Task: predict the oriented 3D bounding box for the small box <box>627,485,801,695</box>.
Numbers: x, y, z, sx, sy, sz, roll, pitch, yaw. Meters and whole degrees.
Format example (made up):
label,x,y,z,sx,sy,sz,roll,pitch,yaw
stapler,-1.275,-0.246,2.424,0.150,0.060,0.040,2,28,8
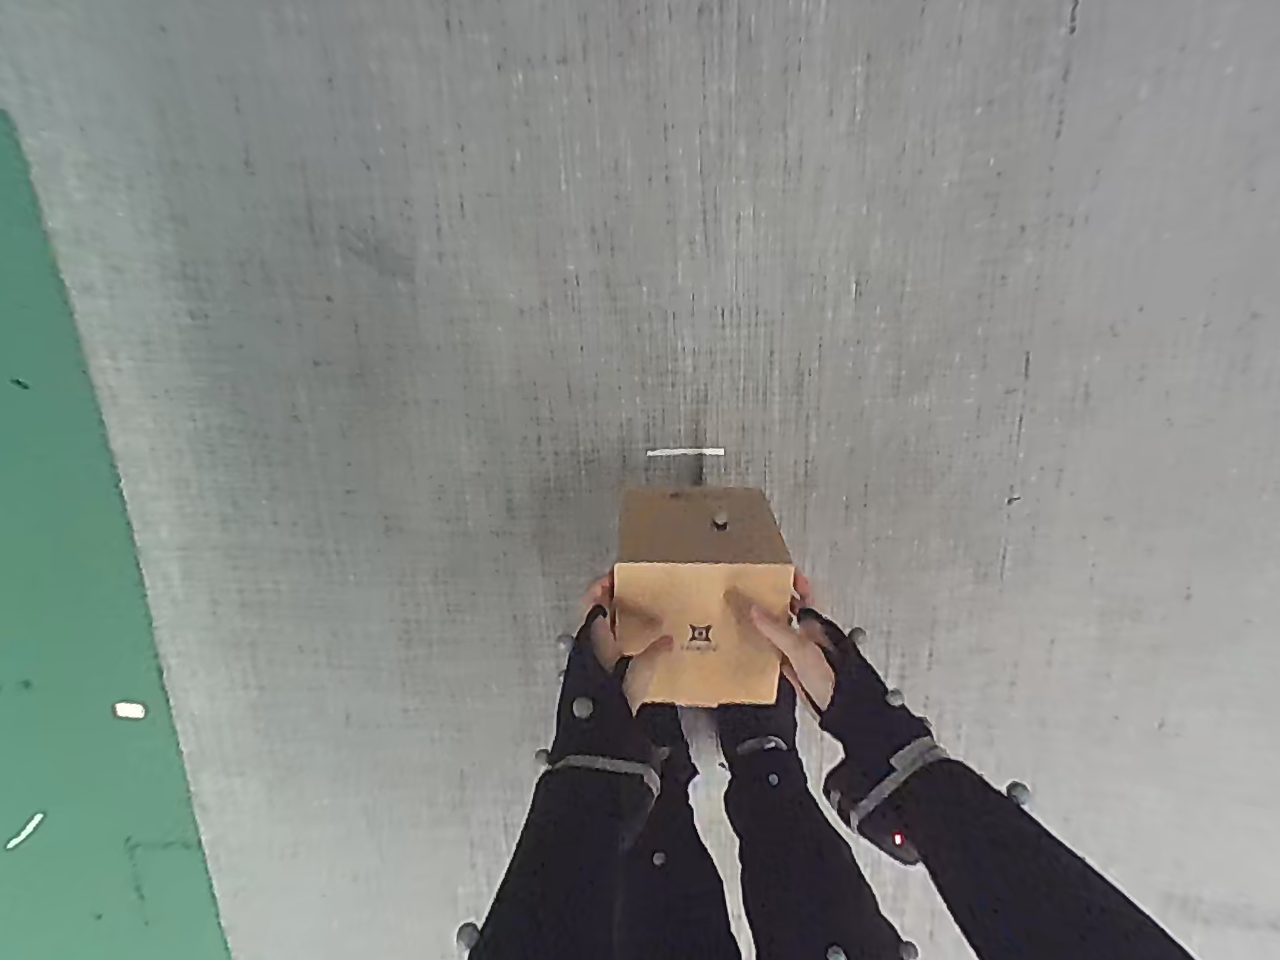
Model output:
label,x,y,z,sx,sy,sz,roll,pitch,yaw
small box,0.070,0.115,0.614,0.168,0.176,0.179,1,116,1
